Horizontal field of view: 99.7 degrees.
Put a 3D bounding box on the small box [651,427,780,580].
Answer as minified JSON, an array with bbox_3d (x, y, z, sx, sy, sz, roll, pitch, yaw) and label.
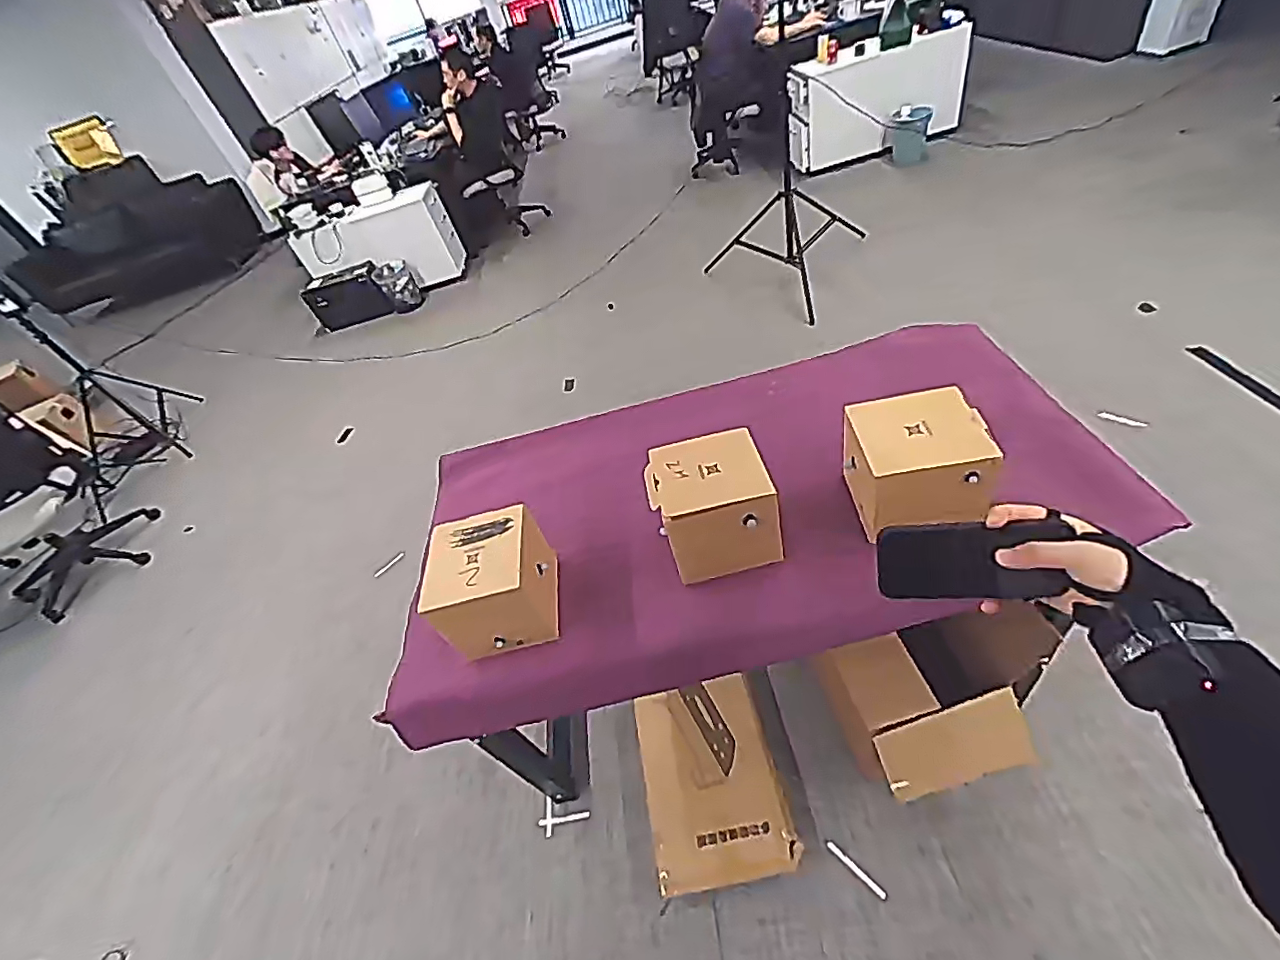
[{"bbox_3d":[0.130,0.042,0.909,0.179,0.176,0.168,-15,42,4],"label":"small box"}]

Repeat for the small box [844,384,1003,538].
[{"bbox_3d":[0.439,-0.025,0.869,0.179,0.176,0.168,-10,45,9],"label":"small box"}]
